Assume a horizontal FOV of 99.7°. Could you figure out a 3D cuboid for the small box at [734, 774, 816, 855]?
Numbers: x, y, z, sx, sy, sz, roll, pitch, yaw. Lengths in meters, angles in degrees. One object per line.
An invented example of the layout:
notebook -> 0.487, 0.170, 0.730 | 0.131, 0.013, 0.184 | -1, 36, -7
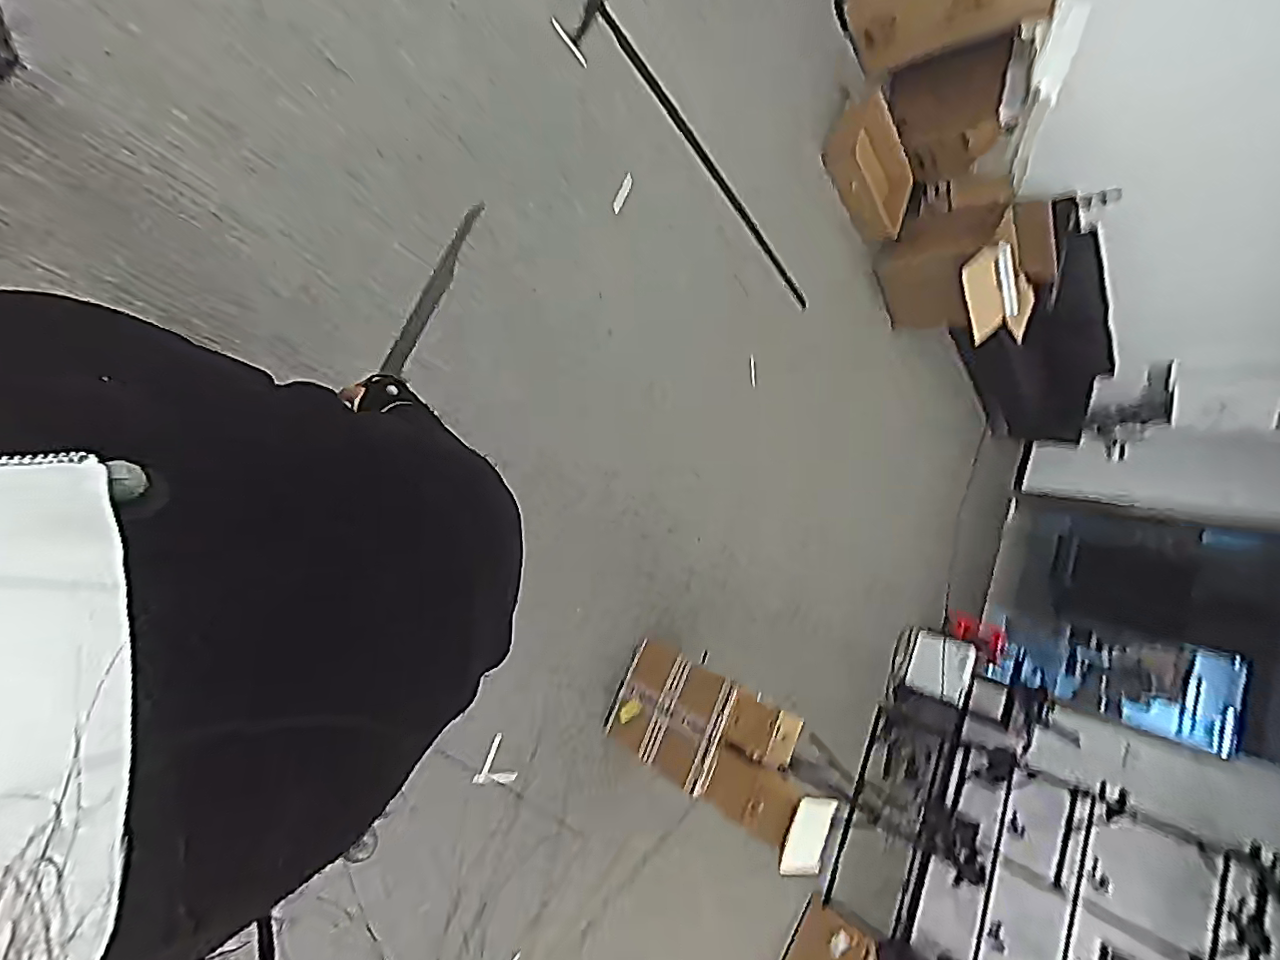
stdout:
small box -> 0.441, 1.091, 1.770 | 0.179, 0.176, 0.168 | 34, 75, -40
